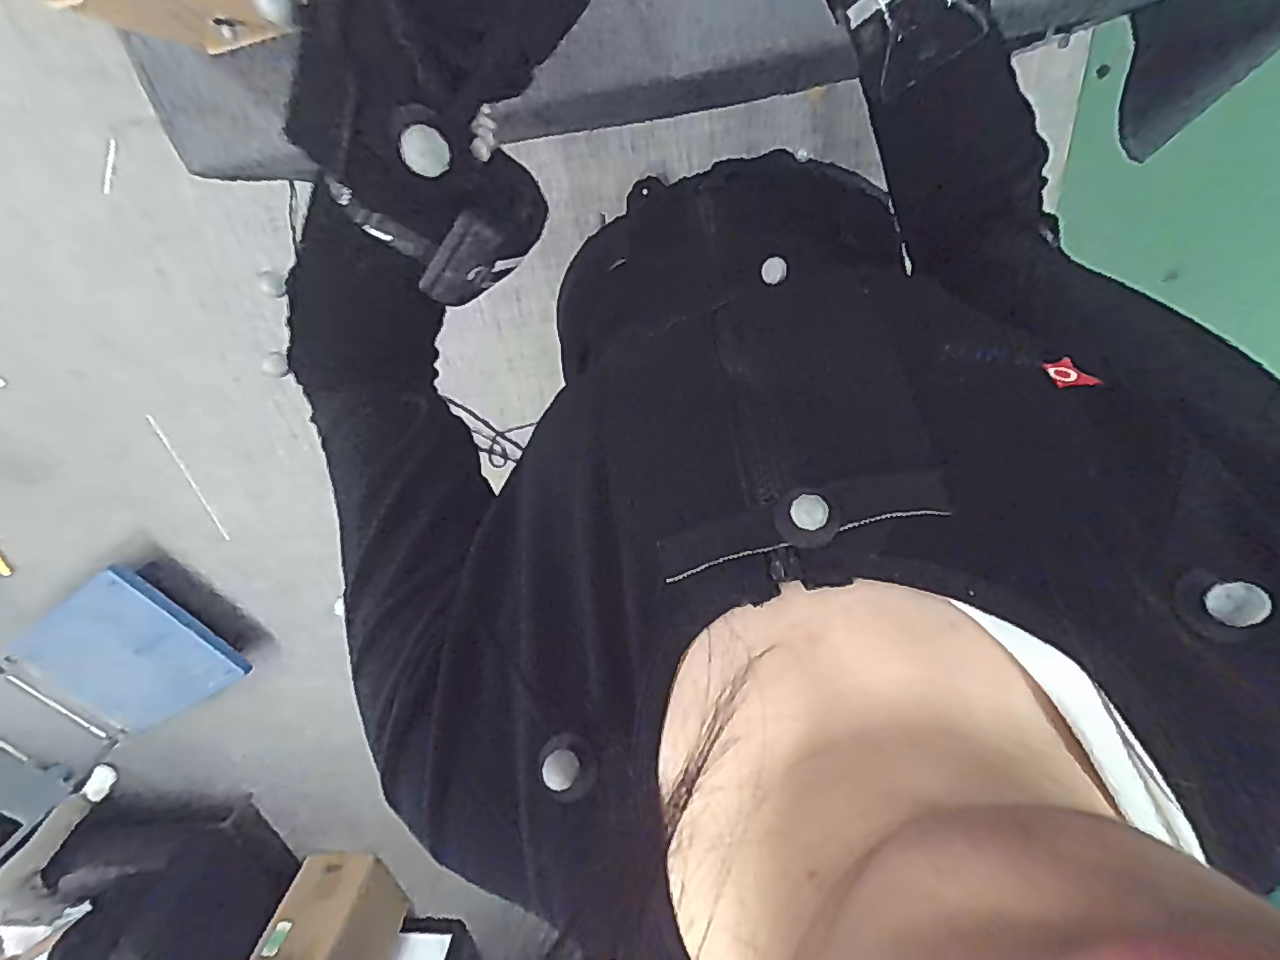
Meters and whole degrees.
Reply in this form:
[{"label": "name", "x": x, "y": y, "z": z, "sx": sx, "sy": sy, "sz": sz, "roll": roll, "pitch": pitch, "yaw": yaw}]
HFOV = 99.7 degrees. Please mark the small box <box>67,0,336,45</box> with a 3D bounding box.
[{"label": "small box", "x": -0.404, "y": -0.508, "z": 0.455, "sx": 0.168, "sy": 0.176, "sz": 0.179, "roll": -7, "pitch": 118, "yaw": 9}]
